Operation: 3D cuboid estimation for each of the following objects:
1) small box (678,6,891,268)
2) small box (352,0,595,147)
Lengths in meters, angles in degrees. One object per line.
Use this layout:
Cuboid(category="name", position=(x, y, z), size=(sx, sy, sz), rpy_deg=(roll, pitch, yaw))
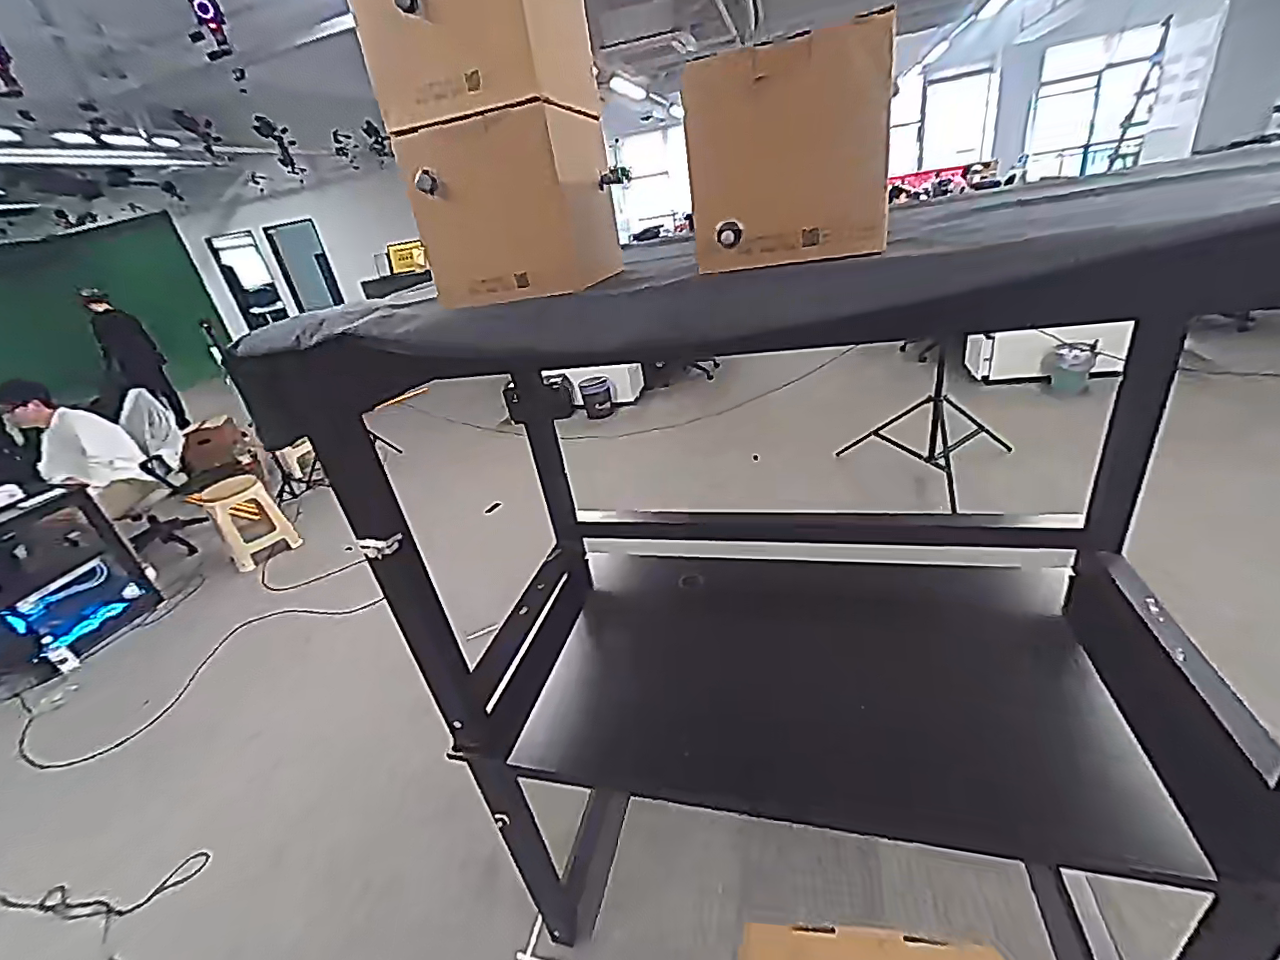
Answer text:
Cuboid(category="small box", position=(0.143, -0.307, 0.523), size=(0.168, 0.176, 0.179), rpy_deg=(0, 27, 18))
Cuboid(category="small box", position=(-0.155, -0.445, 0.535), size=(0.168, 0.176, 0.179), rpy_deg=(-1, 27, 17))
